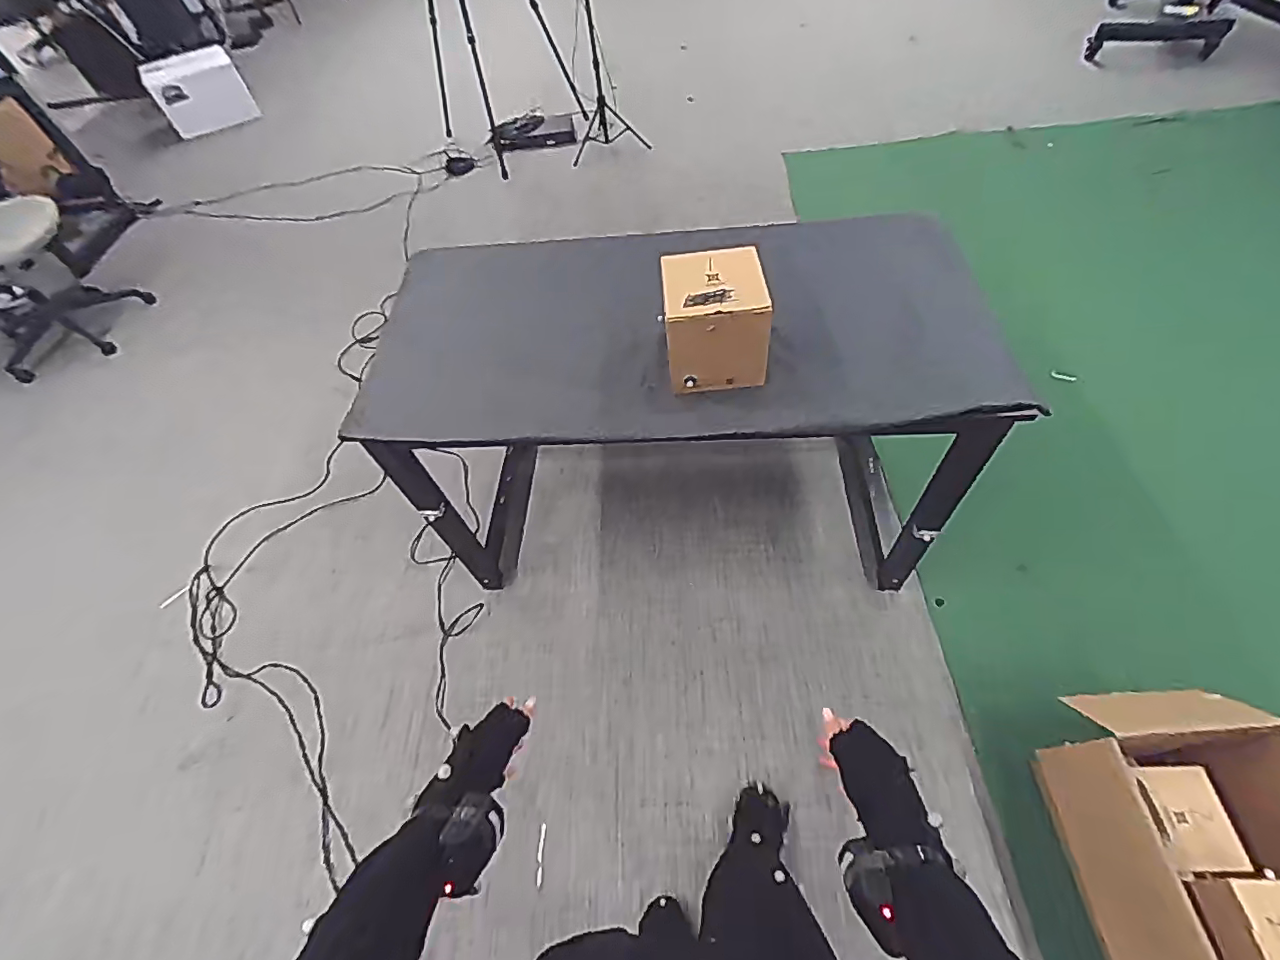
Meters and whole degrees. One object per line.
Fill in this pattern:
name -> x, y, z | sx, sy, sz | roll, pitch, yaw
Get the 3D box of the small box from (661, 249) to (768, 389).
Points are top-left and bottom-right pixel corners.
small box -> 0.127, -0.275, 0.951 | 0.168, 0.176, 0.179 | -5, 53, 4
